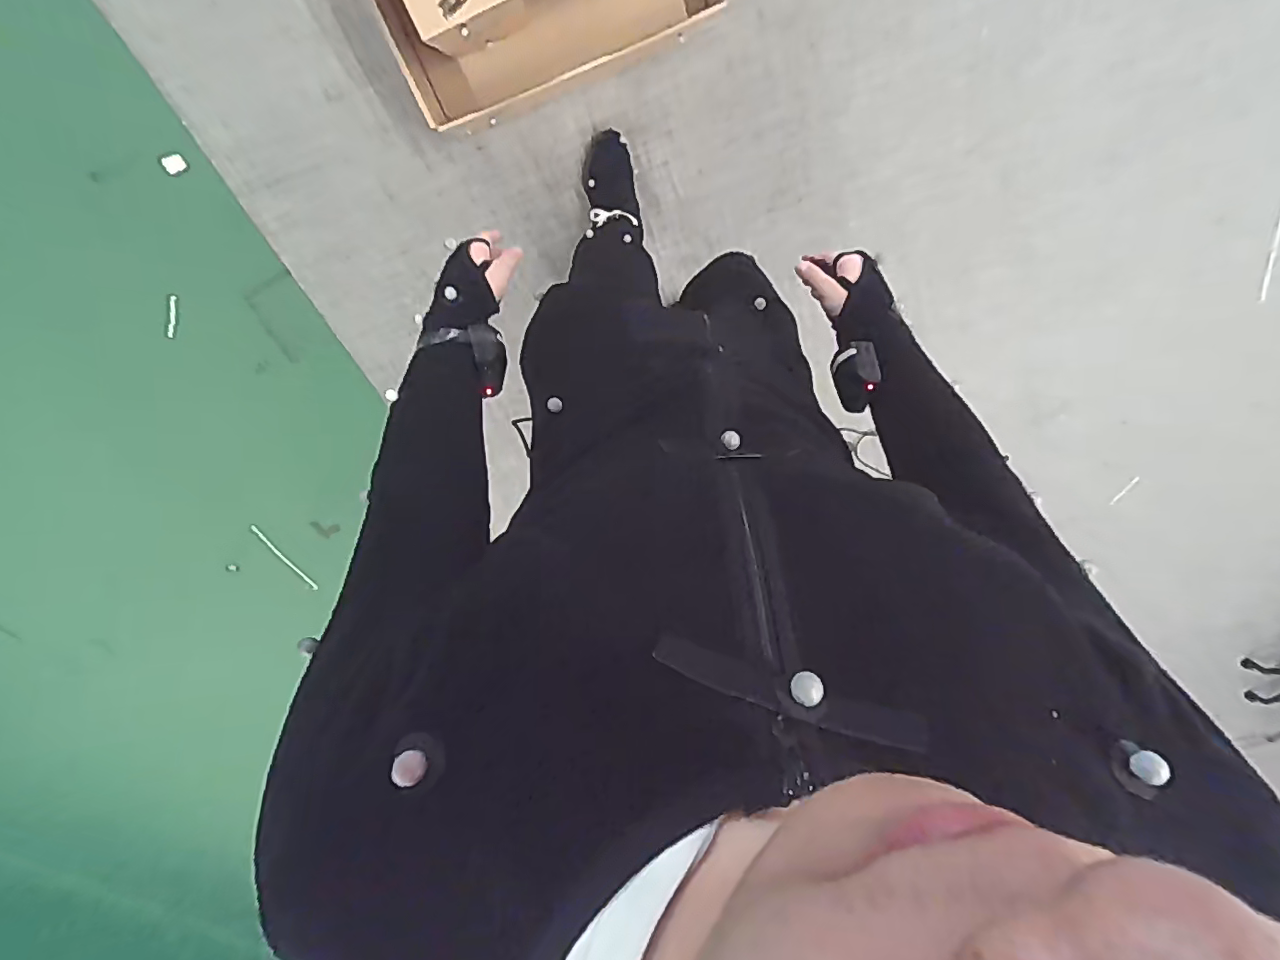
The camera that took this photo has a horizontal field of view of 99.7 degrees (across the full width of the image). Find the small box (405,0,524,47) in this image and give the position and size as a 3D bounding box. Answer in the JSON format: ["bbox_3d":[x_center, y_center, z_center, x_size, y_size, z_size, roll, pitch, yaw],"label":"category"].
[{"bbox_3d":[-0.297,-0.821,0.847,0.168,0.176,0.179,-19,124,7],"label":"small box"}]
